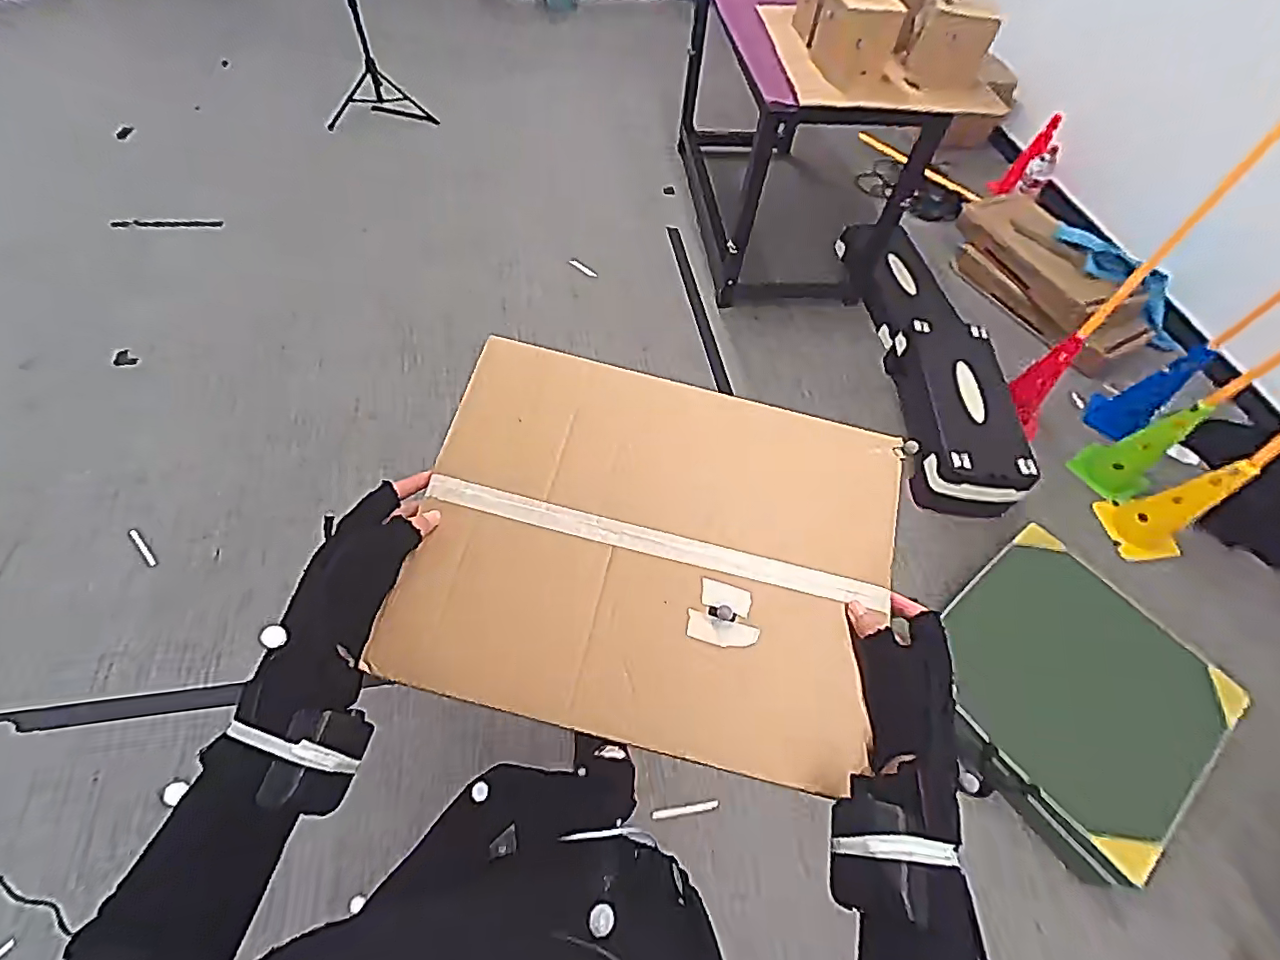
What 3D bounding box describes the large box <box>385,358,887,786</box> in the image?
[{"bbox_3d":[0.005,0.110,0.624,0.408,0.320,0.320,15,72,1],"label":"large box"}]
